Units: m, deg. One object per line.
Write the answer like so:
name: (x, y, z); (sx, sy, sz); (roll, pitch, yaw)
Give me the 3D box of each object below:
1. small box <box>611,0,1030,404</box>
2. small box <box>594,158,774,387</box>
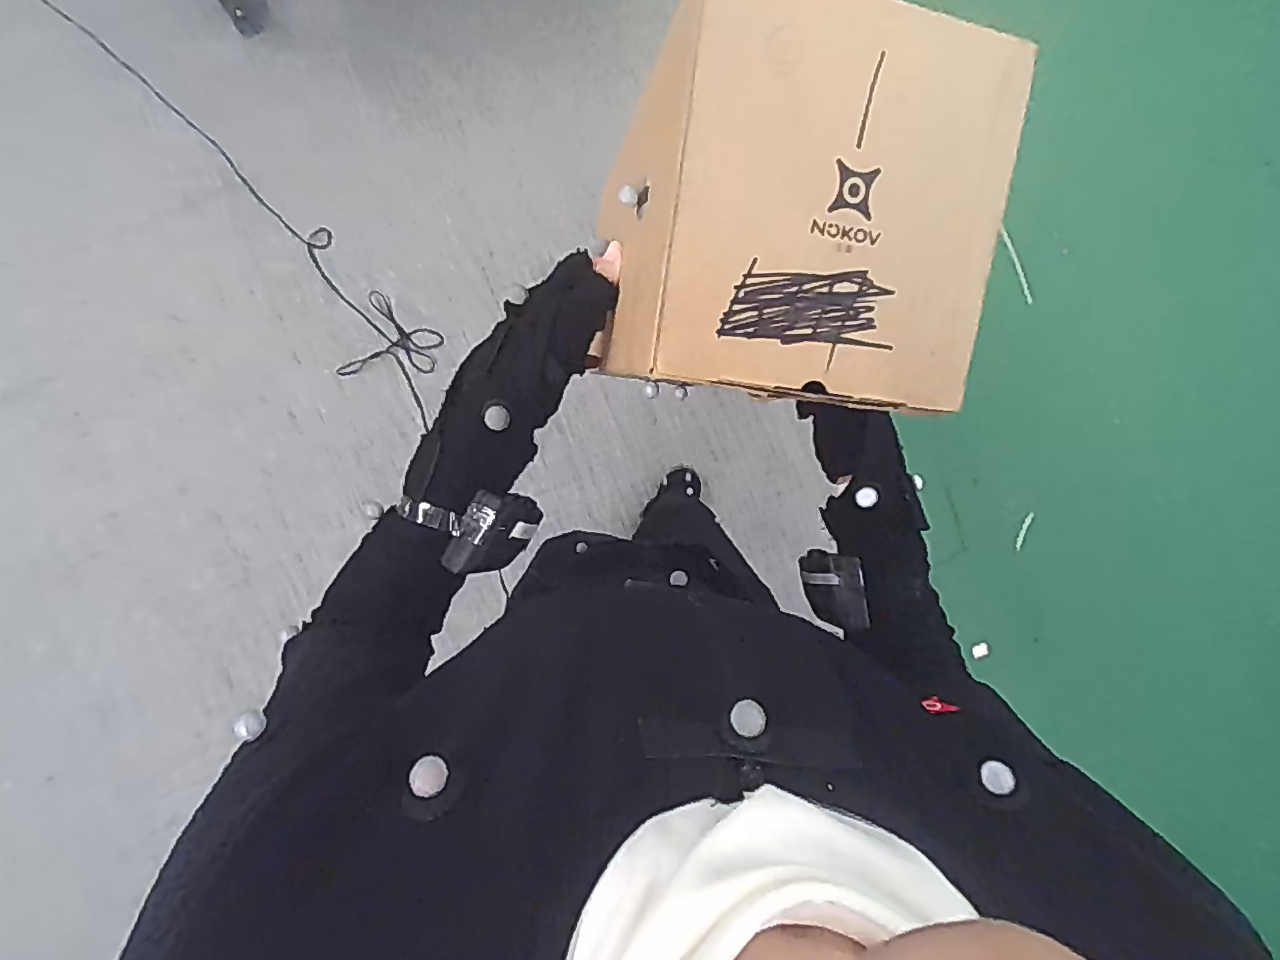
small box: (0.078, -0.147, 0.329); (0.168, 0.176, 0.179); (5, 101, -12)
small box: (0.052, -0.181, 0.490); (0.168, 0.176, 0.179); (4, 102, -11)
